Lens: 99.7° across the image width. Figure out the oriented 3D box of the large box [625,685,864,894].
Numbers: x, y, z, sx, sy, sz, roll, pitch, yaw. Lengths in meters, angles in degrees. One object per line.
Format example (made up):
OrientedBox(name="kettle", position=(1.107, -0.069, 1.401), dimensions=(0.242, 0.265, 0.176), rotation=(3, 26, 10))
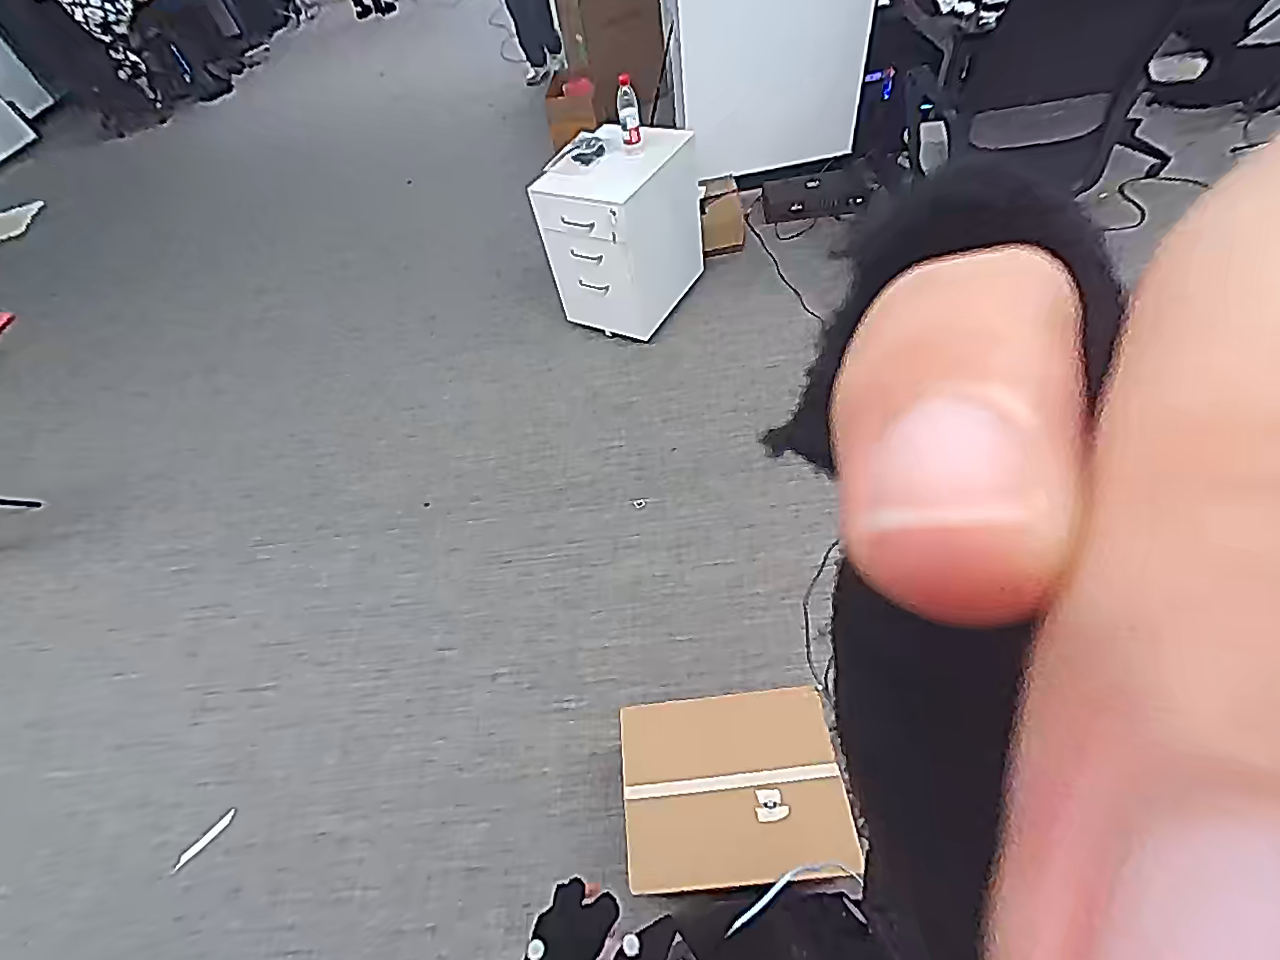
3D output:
OrientedBox(name="large box", position=(0.194, 0.656, 1.135), dimensions=(0.408, 0.320, 0.320), rotation=(-8, 52, 4))
